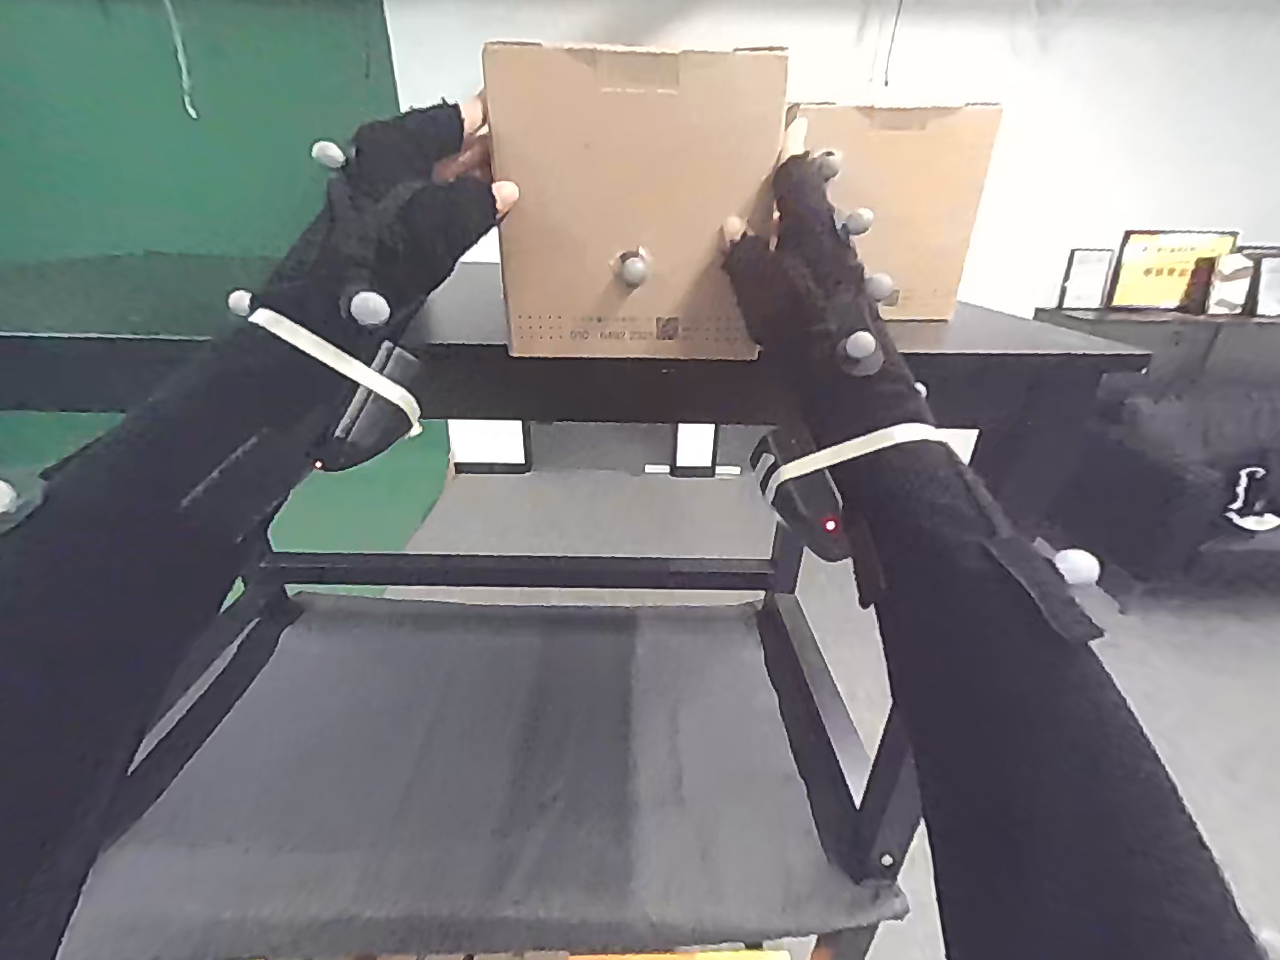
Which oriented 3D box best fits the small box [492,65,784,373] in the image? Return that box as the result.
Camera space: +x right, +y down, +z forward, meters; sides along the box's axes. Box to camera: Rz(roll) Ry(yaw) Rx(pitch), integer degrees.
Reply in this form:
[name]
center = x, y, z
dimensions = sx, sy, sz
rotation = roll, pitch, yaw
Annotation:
[small box]
center = -0.004, -0.186, 0.406
dimensions = 0.168, 0.176, 0.179
rotation = 0, 27, -1
